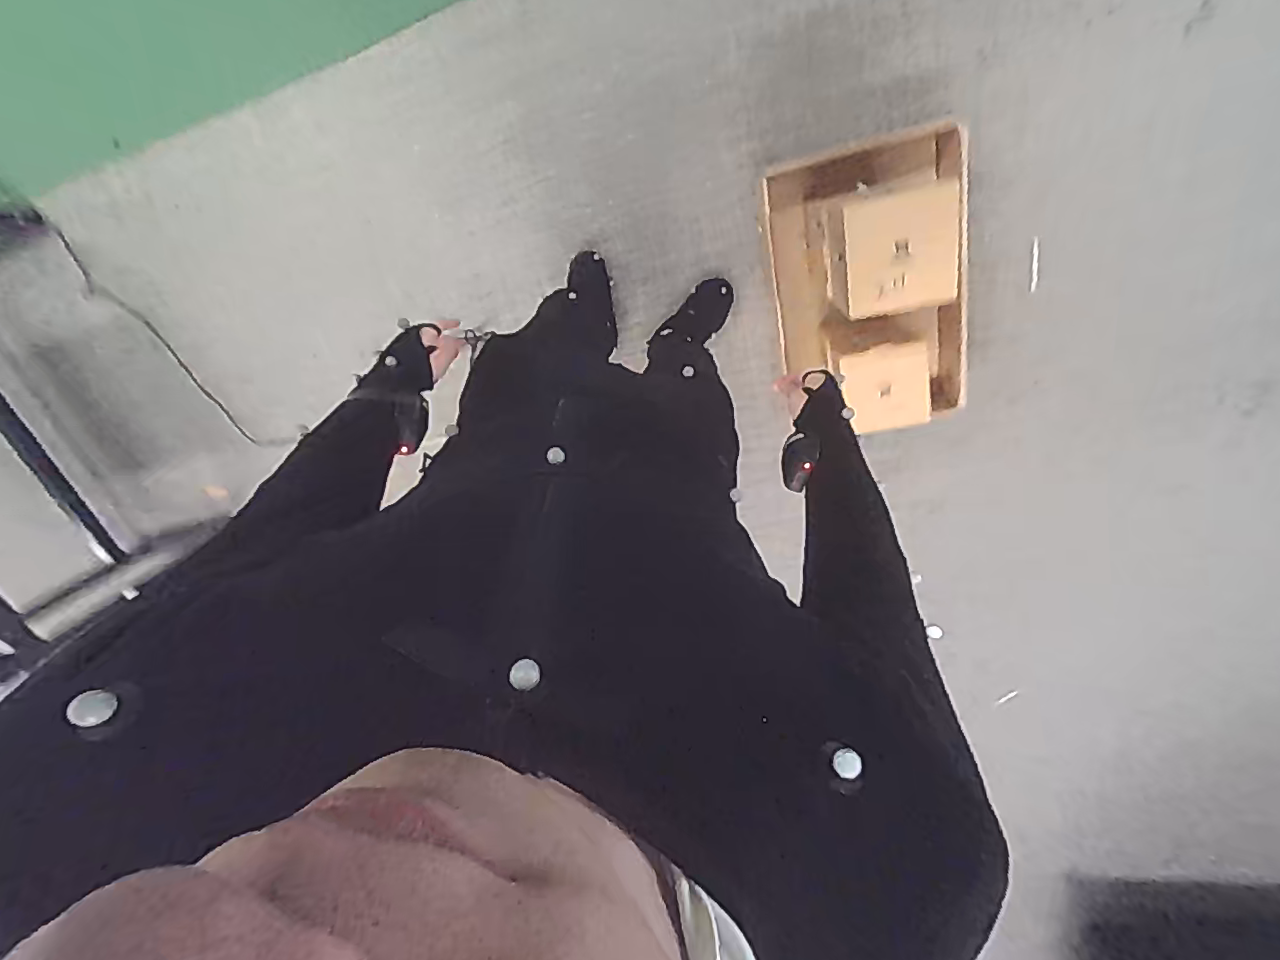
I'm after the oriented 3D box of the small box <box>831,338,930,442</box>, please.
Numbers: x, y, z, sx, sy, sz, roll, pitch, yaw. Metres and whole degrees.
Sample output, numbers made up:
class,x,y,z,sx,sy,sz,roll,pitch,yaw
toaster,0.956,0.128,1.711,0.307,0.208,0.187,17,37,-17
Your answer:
class,x,y,z,sx,sy,sz,roll,pitch,yaw
small box,0.515,-0.202,1.173,0.168,0.176,0.179,-8,114,16

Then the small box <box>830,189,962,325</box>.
class,x,y,z,sx,sy,sz,roll,pitch,yaw
small box,0.423,-0.377,0.916,0.168,0.176,0.179,-7,115,13
